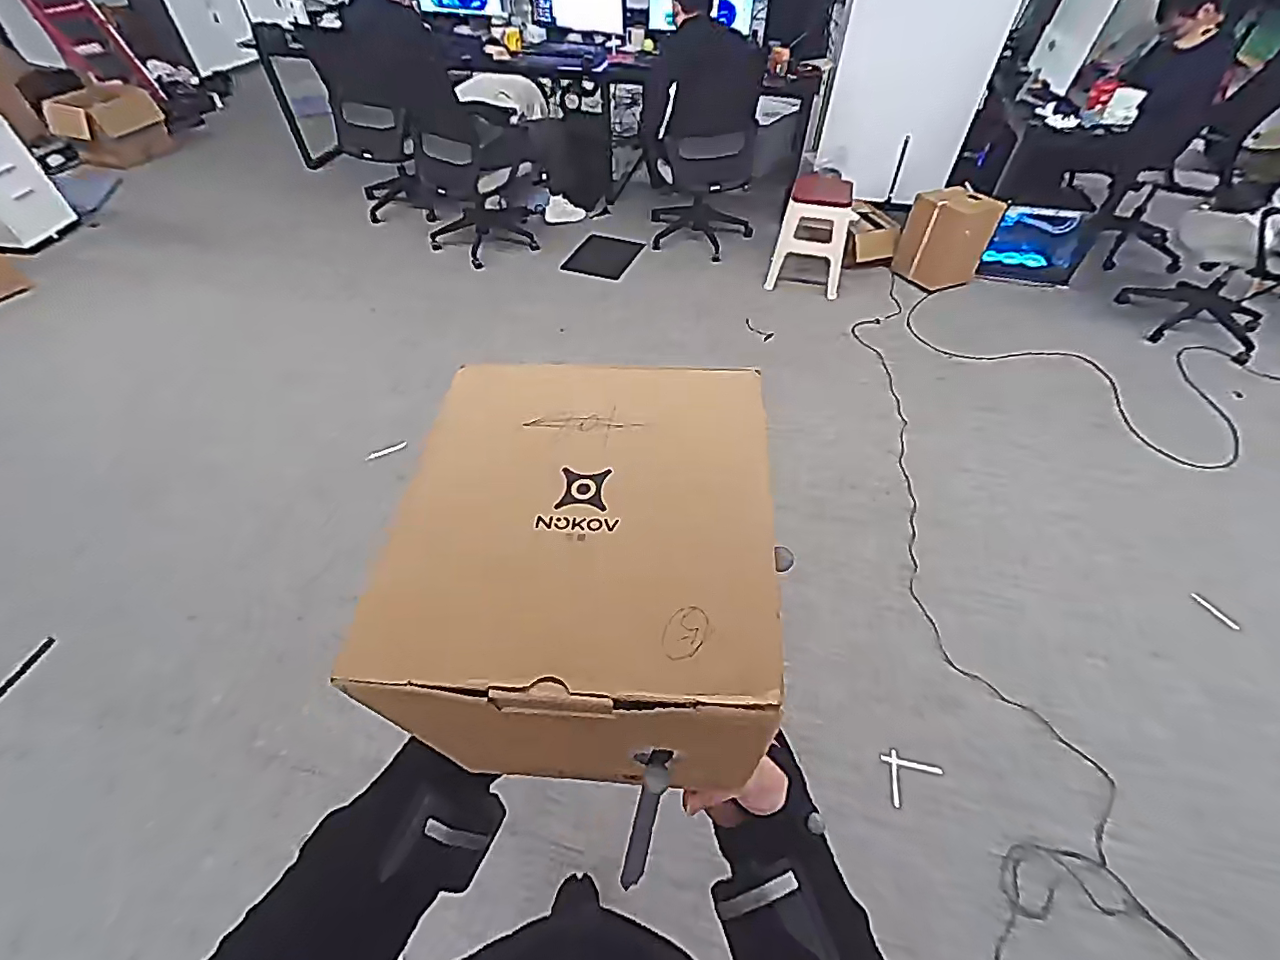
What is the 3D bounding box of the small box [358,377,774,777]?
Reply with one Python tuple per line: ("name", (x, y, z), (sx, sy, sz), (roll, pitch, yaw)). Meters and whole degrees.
("small box", (-0.020, 0.061, 0.316), (0.168, 0.176, 0.179), (2, 52, 4))
